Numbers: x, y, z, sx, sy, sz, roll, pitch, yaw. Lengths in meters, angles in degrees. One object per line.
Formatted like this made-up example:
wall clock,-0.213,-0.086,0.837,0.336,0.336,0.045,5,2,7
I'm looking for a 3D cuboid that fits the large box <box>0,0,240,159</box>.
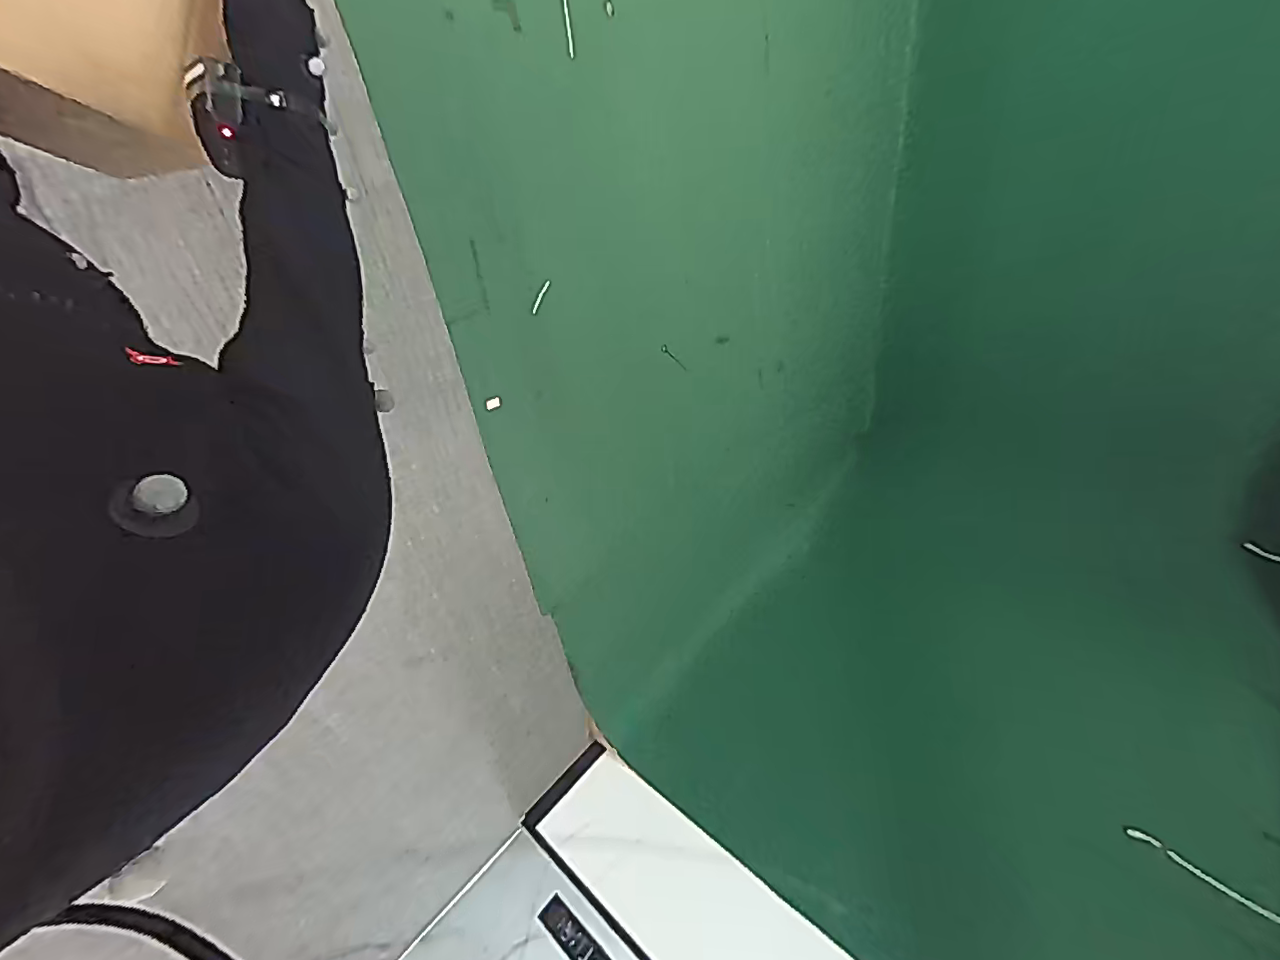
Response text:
large box,-0.571,-0.488,0.377,0.408,0.320,0.320,3,103,-58
